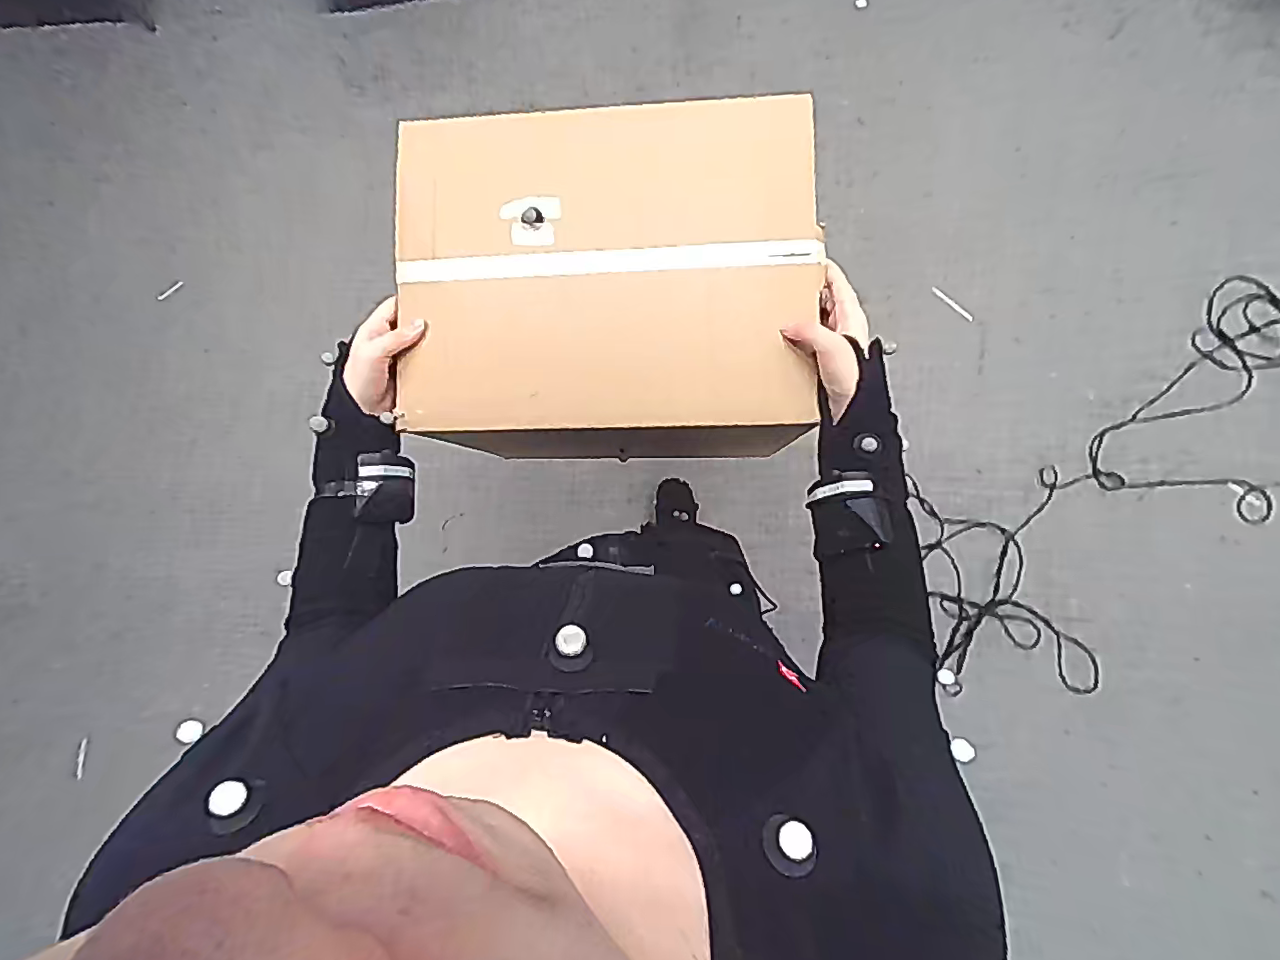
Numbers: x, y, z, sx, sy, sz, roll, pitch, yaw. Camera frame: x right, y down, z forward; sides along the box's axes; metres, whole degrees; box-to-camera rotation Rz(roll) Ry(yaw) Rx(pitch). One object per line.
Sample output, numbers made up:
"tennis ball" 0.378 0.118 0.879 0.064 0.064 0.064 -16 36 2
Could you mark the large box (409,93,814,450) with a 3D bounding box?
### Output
"large box" -0.020 -0.206 0.678 0.408 0.320 0.320 -1 87 6
